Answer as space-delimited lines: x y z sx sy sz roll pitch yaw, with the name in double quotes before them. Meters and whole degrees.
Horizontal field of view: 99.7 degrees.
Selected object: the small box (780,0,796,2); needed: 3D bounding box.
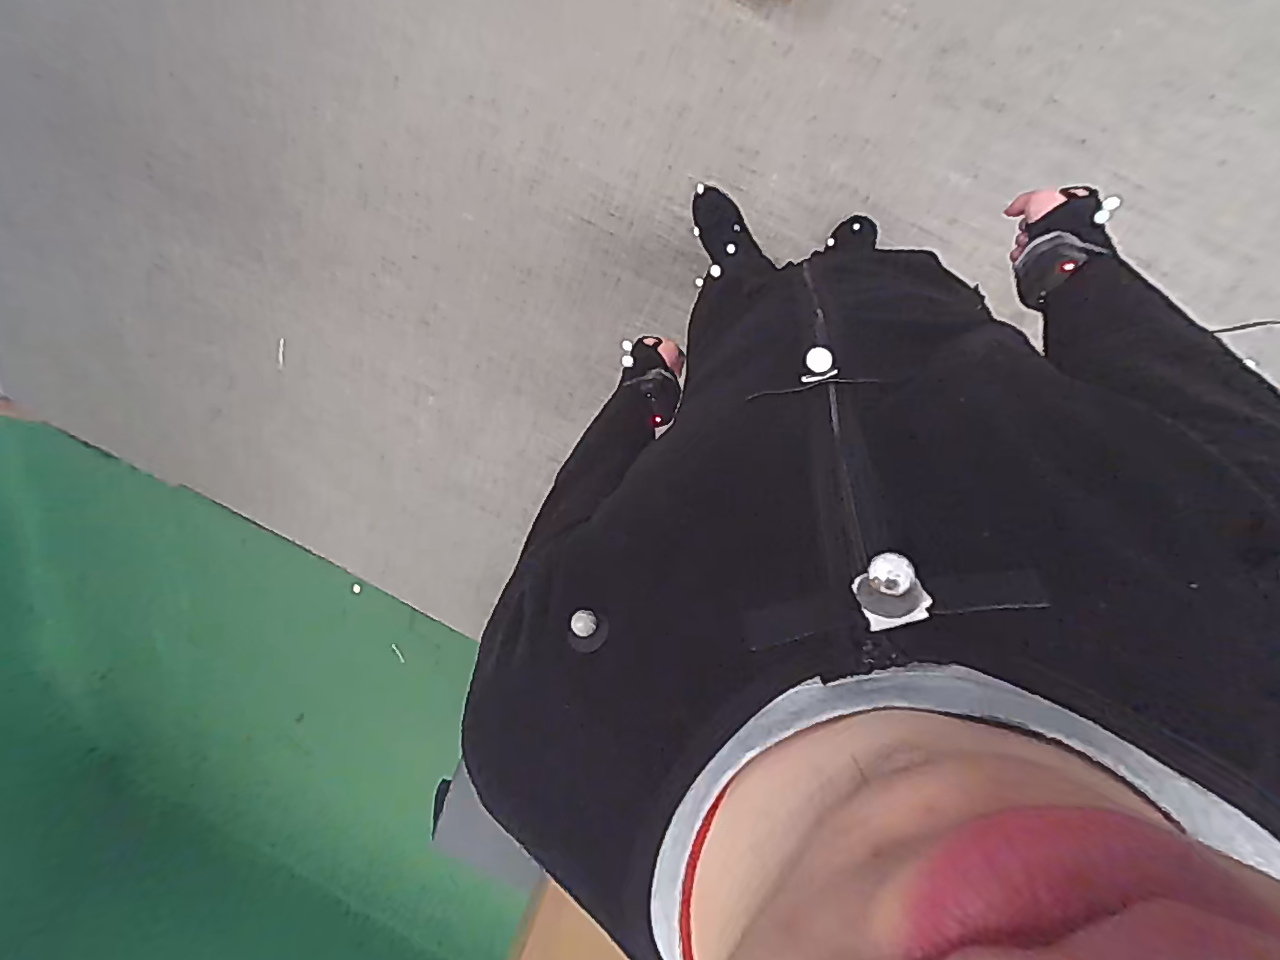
"small box" 0.248 -1.054 1.032 0.168 0.176 0.179 15 119 9
